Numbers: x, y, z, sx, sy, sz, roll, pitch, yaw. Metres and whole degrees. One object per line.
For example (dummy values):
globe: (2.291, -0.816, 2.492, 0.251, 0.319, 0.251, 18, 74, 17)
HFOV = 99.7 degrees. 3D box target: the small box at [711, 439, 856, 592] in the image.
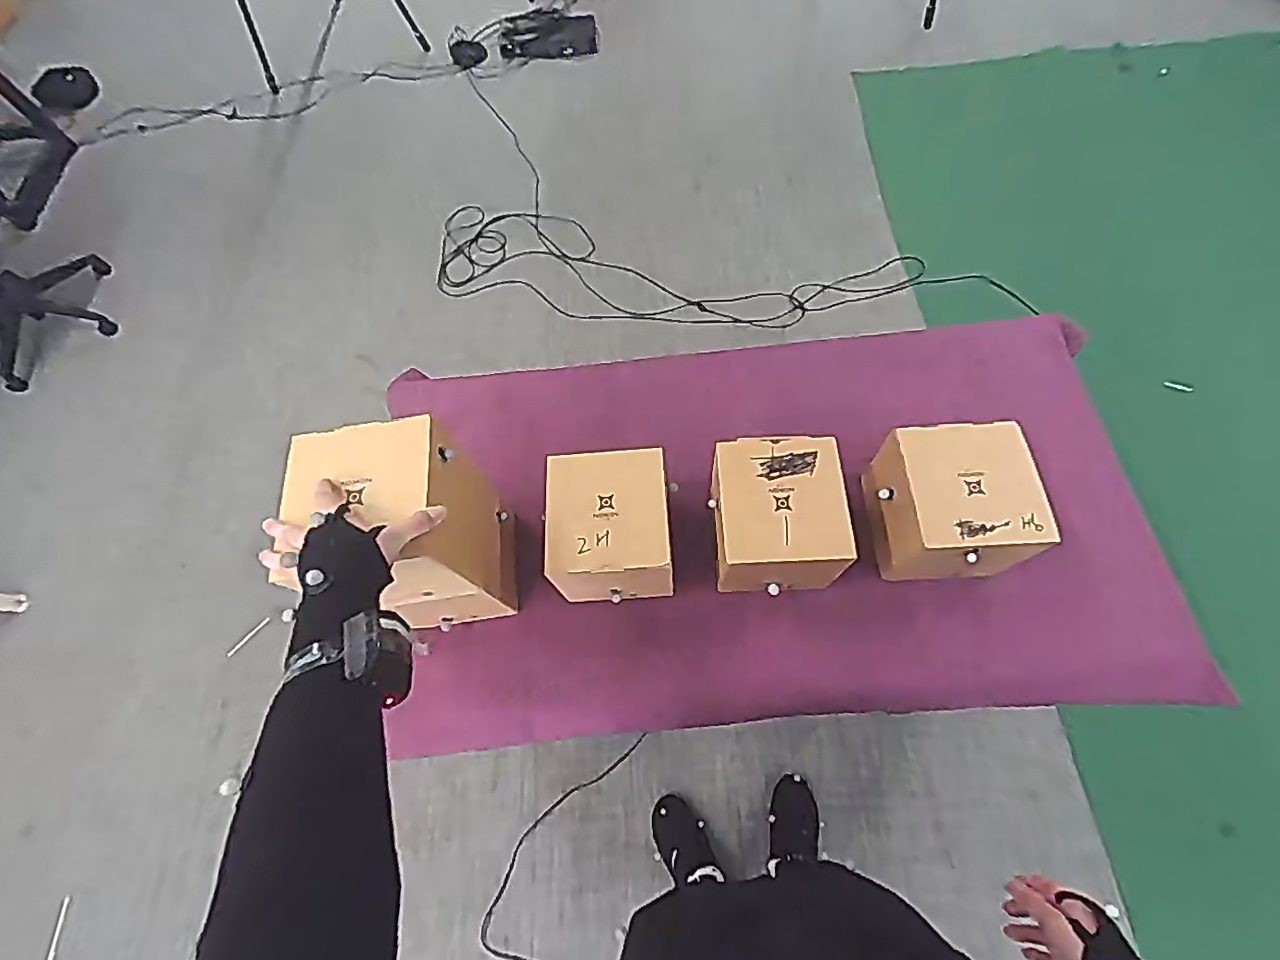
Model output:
small box: (0.193, 0.057, 0.784, 0.168, 0.176, 0.179, -2, 67, 4)

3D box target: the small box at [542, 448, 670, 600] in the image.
small box: (-0.042, 0.070, 0.799, 0.168, 0.176, 0.179, -4, 66, 3)

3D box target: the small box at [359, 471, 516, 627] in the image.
small box: (-0.289, 0.109, 0.803, 0.168, 0.176, 0.179, -9, 66, 1)

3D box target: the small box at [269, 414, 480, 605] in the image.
small box: (-0.301, 0.047, 0.655, 0.168, 0.176, 0.179, -9, 65, 2)

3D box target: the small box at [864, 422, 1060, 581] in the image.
small box: (0.437, 0.037, 0.771, 0.168, 0.176, 0.179, -3, 65, 4)
